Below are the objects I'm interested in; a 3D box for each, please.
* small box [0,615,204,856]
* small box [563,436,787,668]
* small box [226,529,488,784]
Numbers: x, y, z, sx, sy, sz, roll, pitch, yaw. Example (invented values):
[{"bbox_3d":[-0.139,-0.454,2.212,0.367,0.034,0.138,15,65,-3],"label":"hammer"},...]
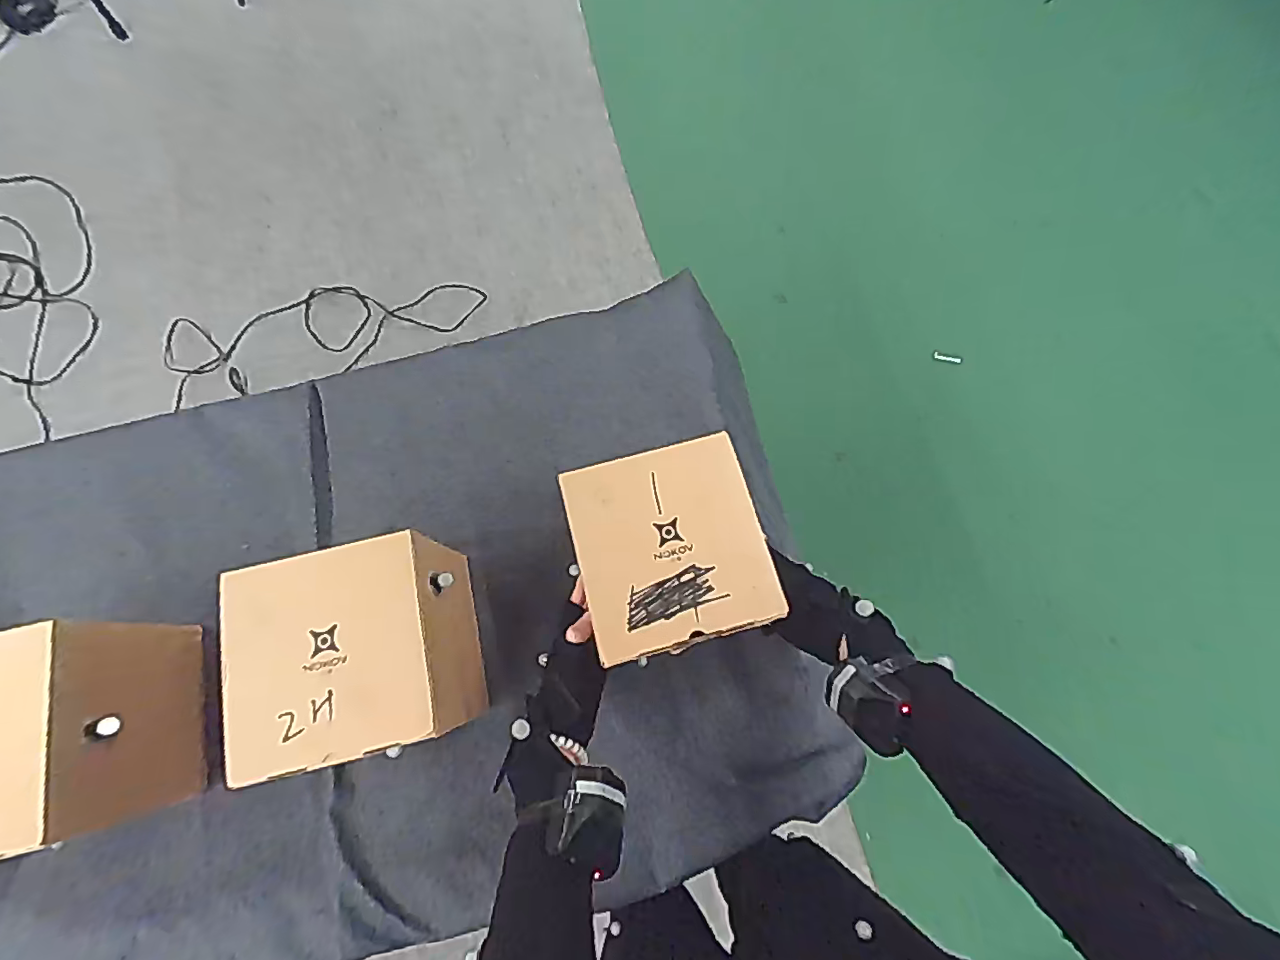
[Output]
[{"bbox_3d":[-0.547,0.234,0.499,0.168,0.176,0.179,-13,75,-5],"label":"small box"},{"bbox_3d":[0.028,0.079,0.553,0.168,0.176,0.179,-14,74,-5],"label":"small box"},{"bbox_3d":[-0.258,0.162,0.524,0.168,0.176,0.179,-13,75,-4],"label":"small box"}]
